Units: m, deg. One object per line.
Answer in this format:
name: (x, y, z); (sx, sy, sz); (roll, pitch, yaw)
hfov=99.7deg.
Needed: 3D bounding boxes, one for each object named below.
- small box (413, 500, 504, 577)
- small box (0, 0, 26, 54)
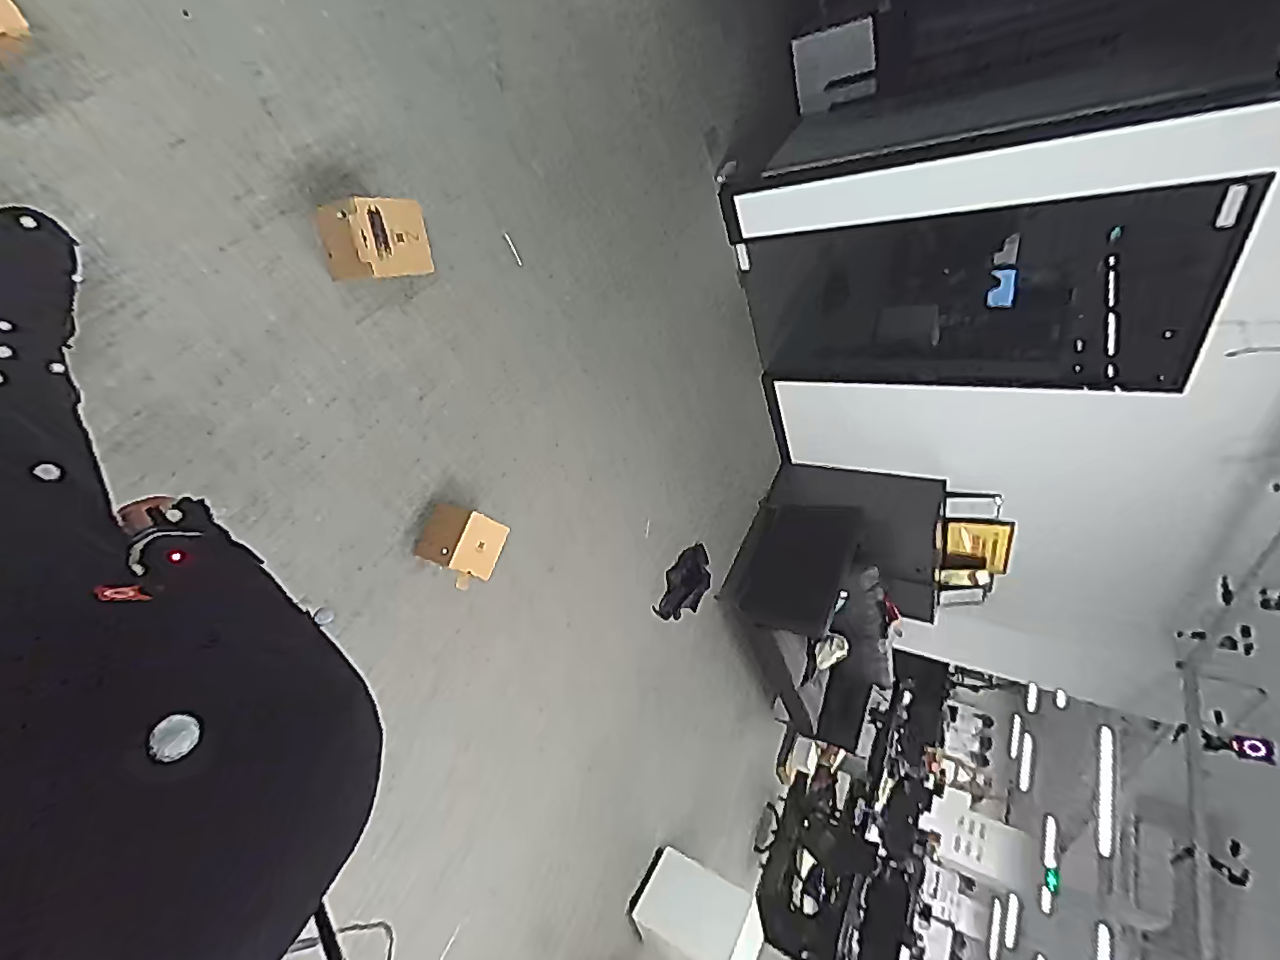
small box: (-0.553, 0.176, 1.643); (0.168, 0.176, 0.179); (40, 66, -53)
small box: (-1.009, -0.681, 0.723); (0.168, 0.176, 0.179); (-53, 137, -38)
